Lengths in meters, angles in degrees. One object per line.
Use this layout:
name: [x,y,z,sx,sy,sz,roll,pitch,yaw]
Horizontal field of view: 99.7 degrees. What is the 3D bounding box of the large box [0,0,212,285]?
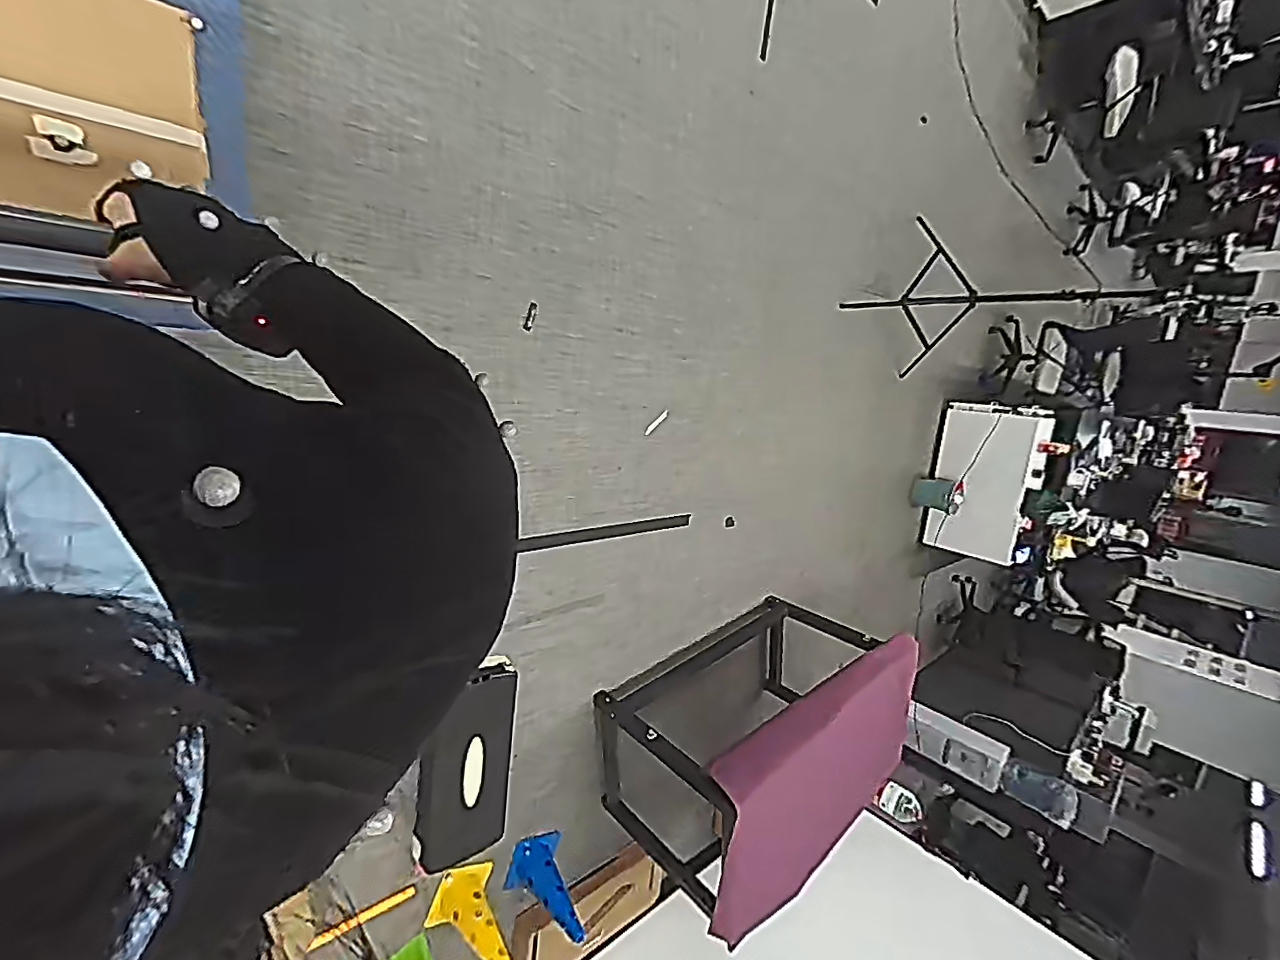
large box: [-0.850,-0.460,0.718,0.408,0.320,0.320,-6,105,-42]
